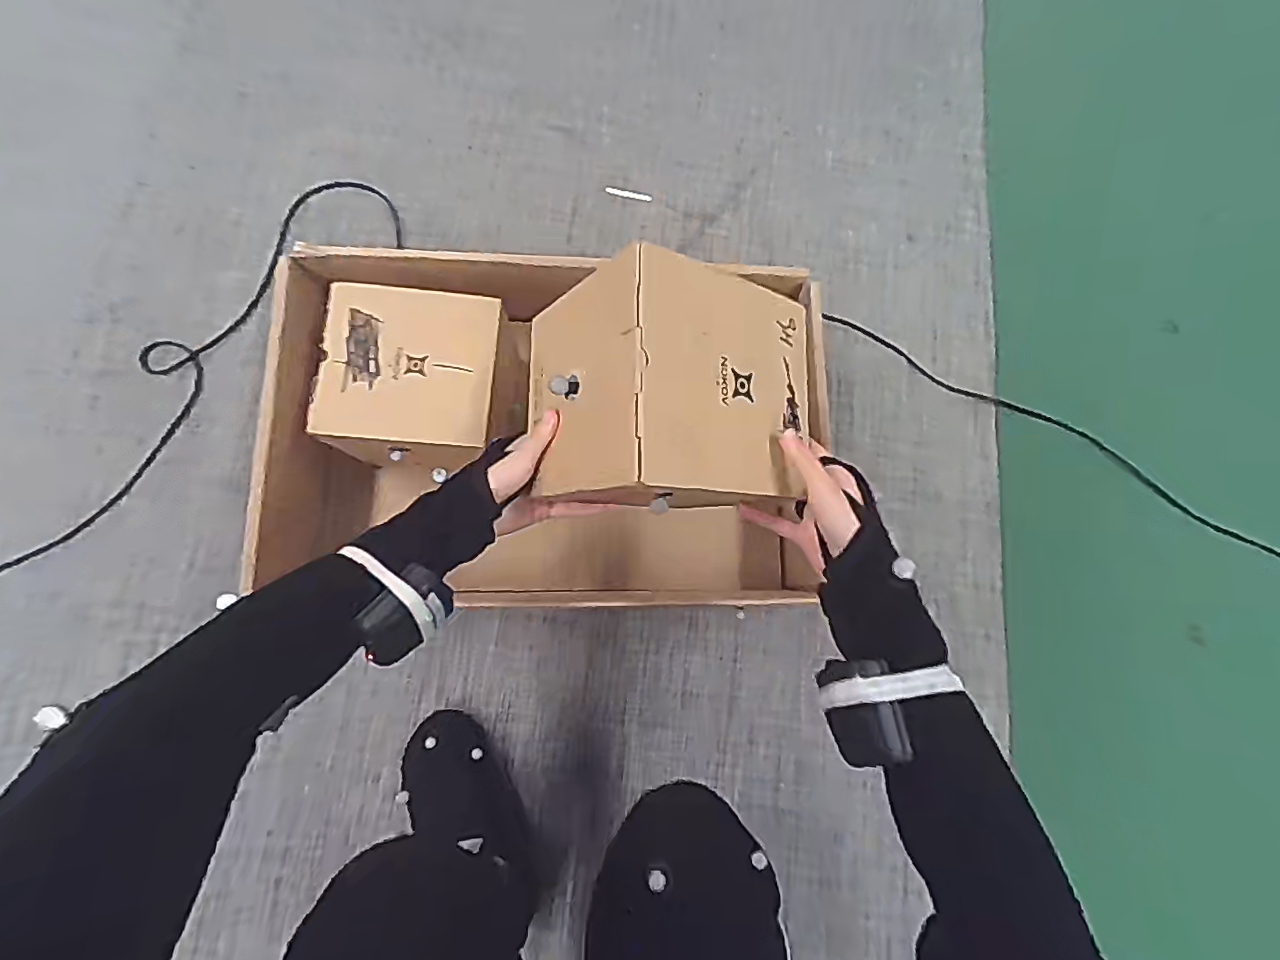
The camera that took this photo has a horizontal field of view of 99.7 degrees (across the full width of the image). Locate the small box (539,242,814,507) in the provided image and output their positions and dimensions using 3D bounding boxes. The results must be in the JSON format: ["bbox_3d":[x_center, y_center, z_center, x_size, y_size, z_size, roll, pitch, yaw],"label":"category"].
[{"bbox_3d":[0.026,-0.067,0.468,0.179,0.176,0.168,7,80,-35],"label":"small box"}]
